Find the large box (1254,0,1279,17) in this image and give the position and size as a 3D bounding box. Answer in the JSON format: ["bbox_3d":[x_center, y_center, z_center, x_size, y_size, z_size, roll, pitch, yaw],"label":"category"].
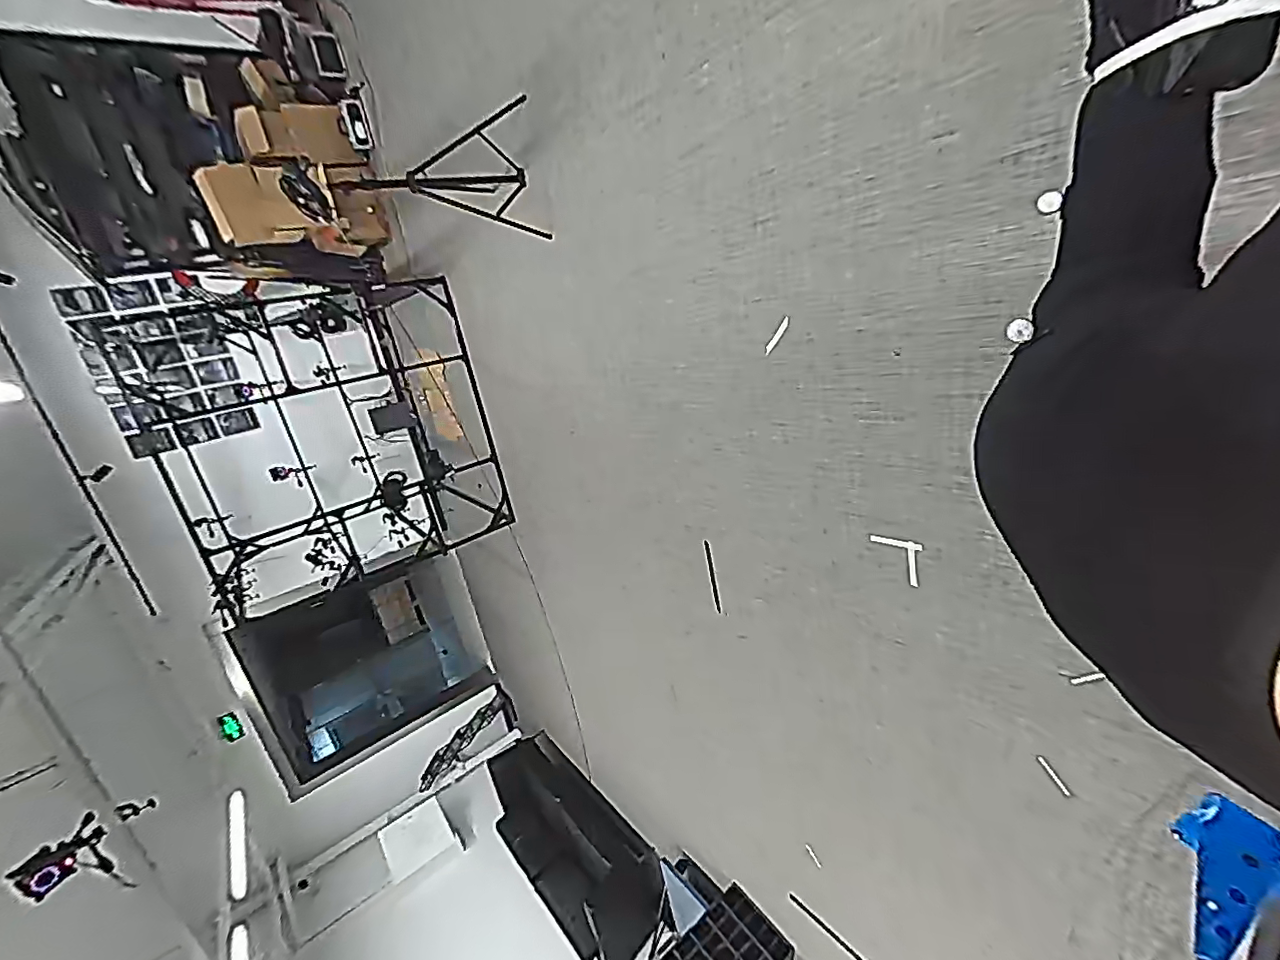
[{"bbox_3d":[0.560,-0.488,0.220,0.408,0.320,0.320,12,122,51],"label":"large box"}]

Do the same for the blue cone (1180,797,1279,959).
[{"bbox_3d":[1.316,0.919,1.203,0.193,0.380,0.192,38,139,39],"label":"blue cone"}]
